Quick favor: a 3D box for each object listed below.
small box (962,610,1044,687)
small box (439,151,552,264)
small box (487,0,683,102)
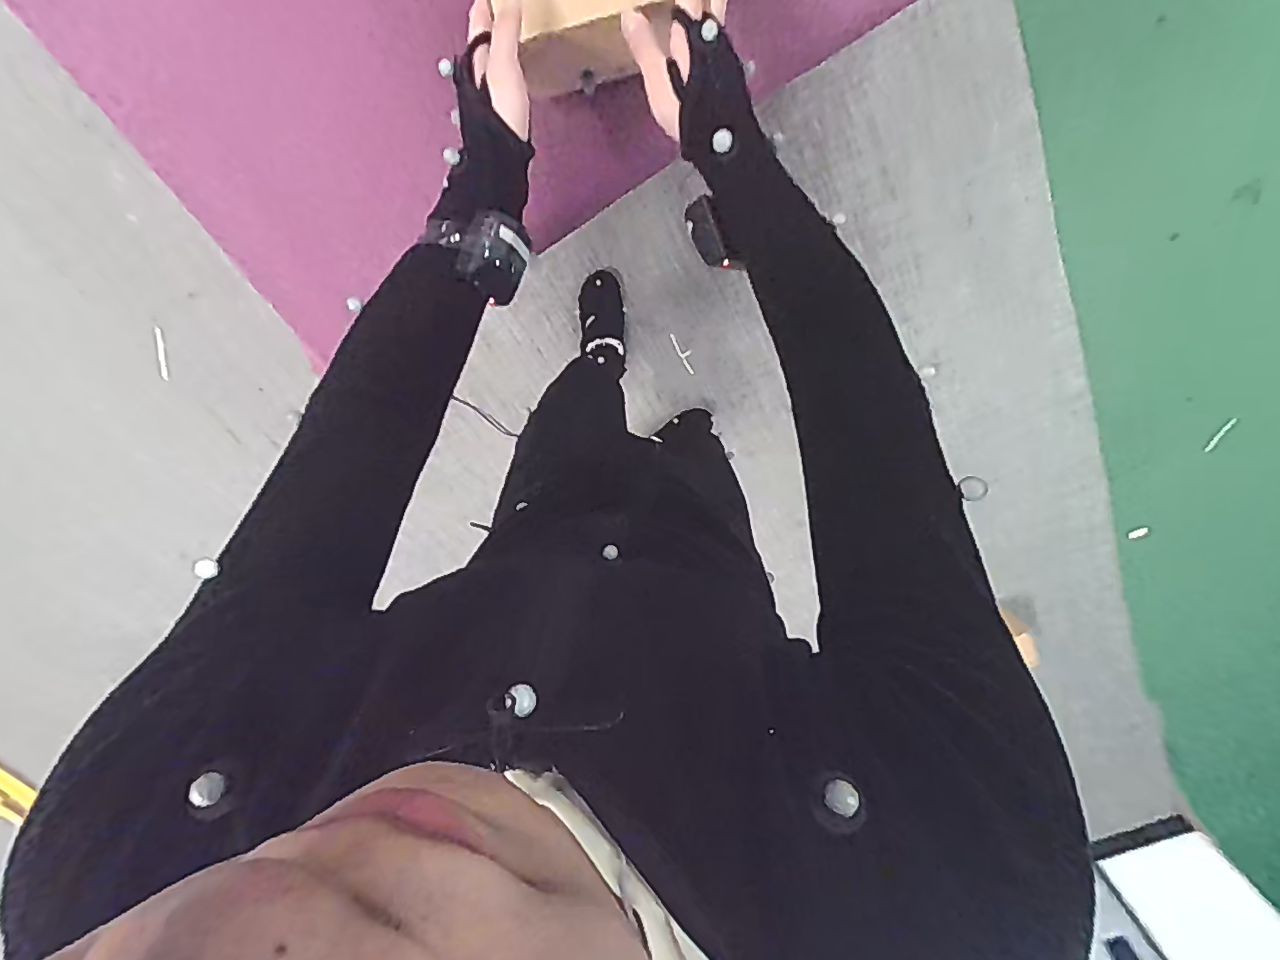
[{"bbox_3d":[1.267,0.584,1.898,0.168,0.176,0.179,-26,114,11],"label":"small box"},{"bbox_3d":[-0.325,-0.625,1.254,0.179,0.176,0.168,-29,114,12],"label":"small box"},{"bbox_3d":[-0.059,-0.493,0.504,0.168,0.176,0.179,-10,110,4],"label":"small box"}]
